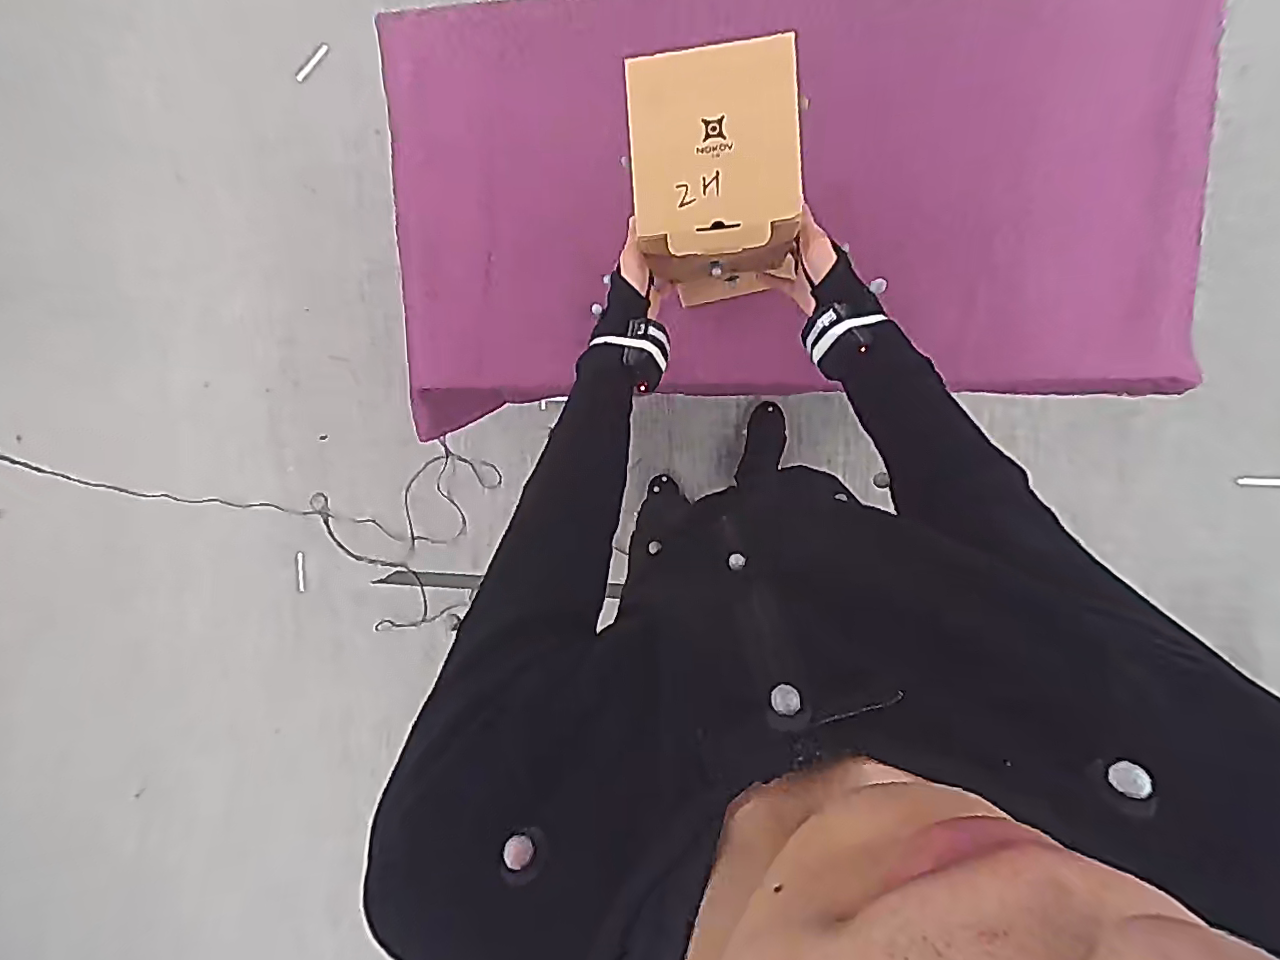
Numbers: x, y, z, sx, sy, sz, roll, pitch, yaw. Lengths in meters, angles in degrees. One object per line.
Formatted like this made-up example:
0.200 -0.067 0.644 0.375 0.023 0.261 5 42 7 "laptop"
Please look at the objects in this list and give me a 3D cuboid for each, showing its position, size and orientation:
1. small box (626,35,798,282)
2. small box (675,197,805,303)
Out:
0.079 -0.340 0.608 0.168 0.176 0.179 -3 95 8 "small box"
0.125 -0.364 0.772 0.179 0.176 0.168 -10 96 8 "small box"
